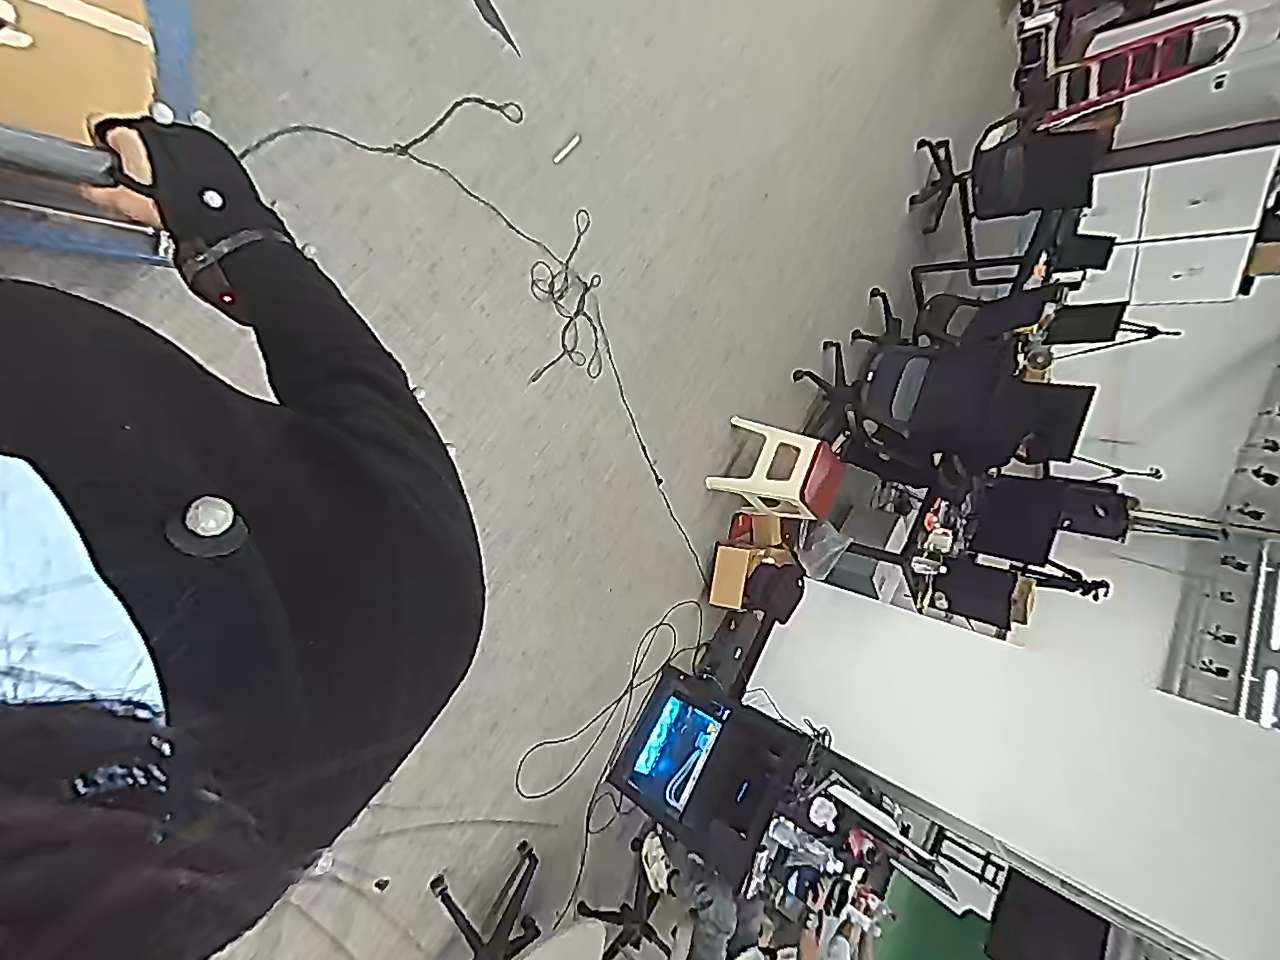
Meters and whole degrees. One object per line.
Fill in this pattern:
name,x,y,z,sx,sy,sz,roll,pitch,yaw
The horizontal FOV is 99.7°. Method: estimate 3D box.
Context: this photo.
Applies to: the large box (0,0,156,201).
large box,-0.896,-0.586,0.665,0.408,0.320,0.320,-6,105,-47
